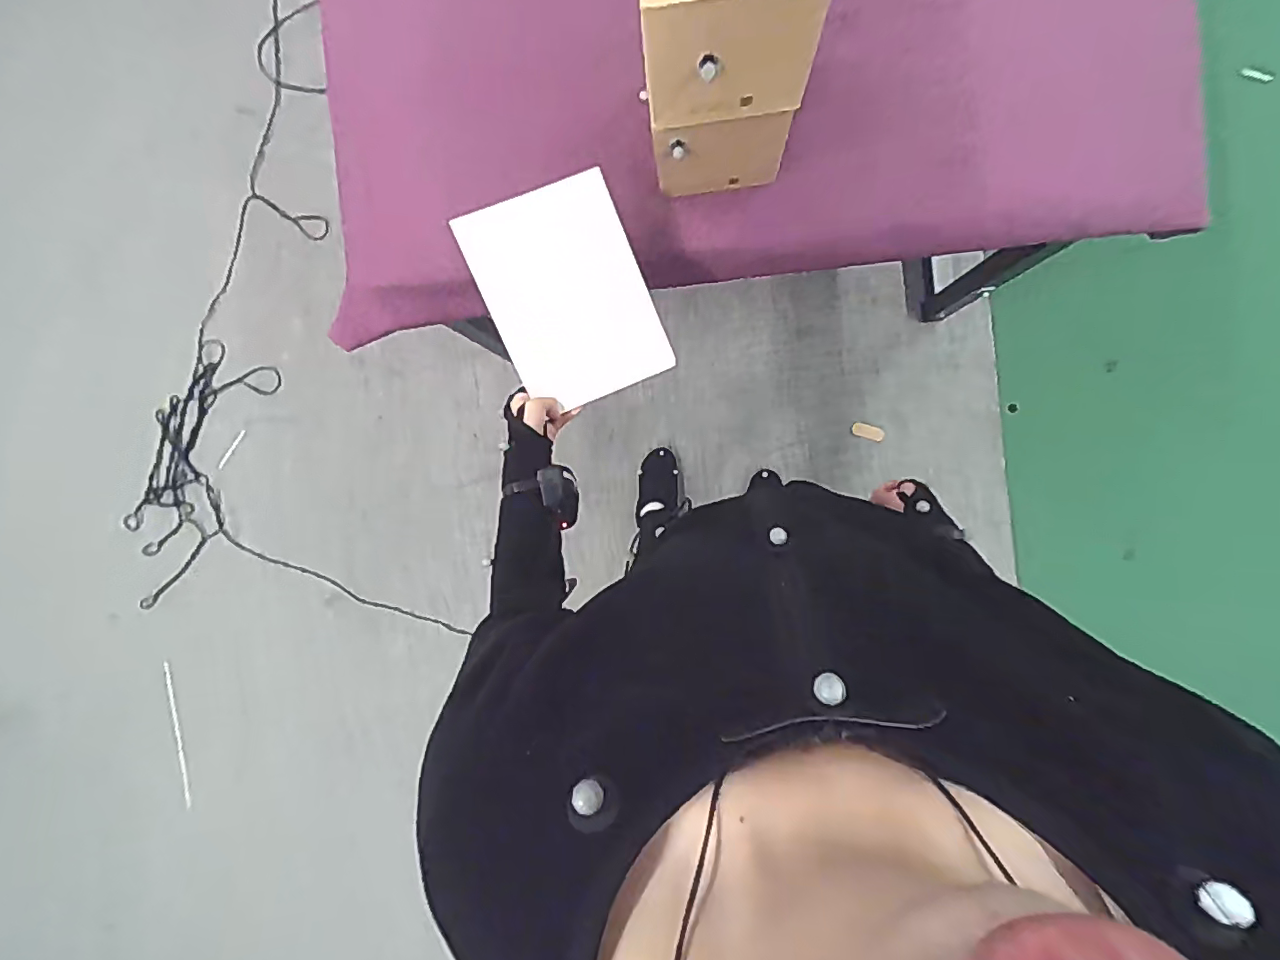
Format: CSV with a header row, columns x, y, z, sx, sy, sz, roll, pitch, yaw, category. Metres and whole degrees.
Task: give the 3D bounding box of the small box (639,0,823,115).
x,y,z,sx,sy,sz,roll,pitch,yaw,category
0.084,-0.495,0.531,0.168,0.176,0.179,-4,89,6,small box
